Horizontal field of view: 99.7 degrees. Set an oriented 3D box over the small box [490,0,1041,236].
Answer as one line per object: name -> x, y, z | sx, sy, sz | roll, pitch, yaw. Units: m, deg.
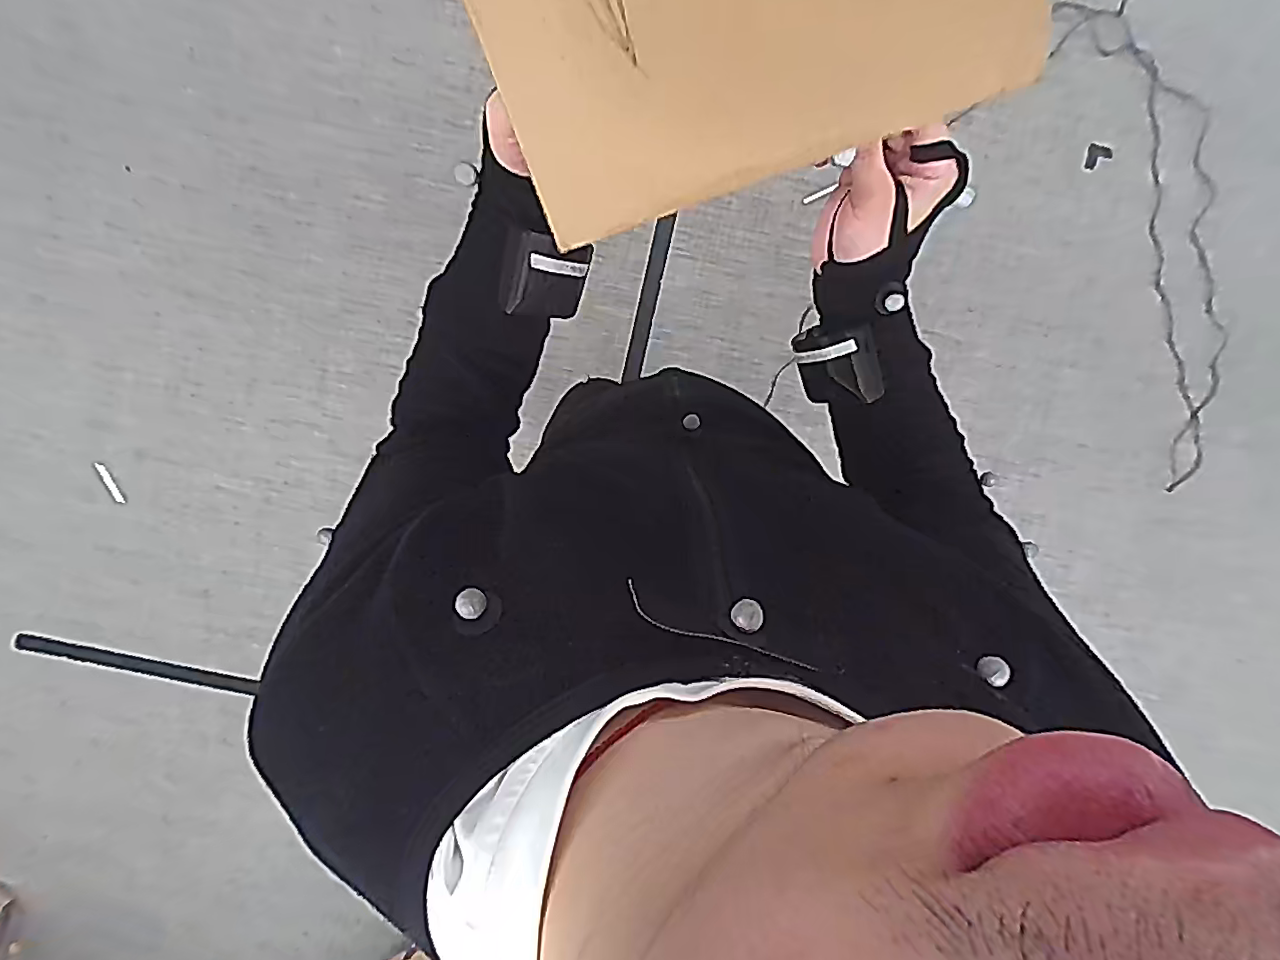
small box -> 0.031, -0.226, 0.229 | 0.179, 0.176, 0.168 | -16, 120, 10
